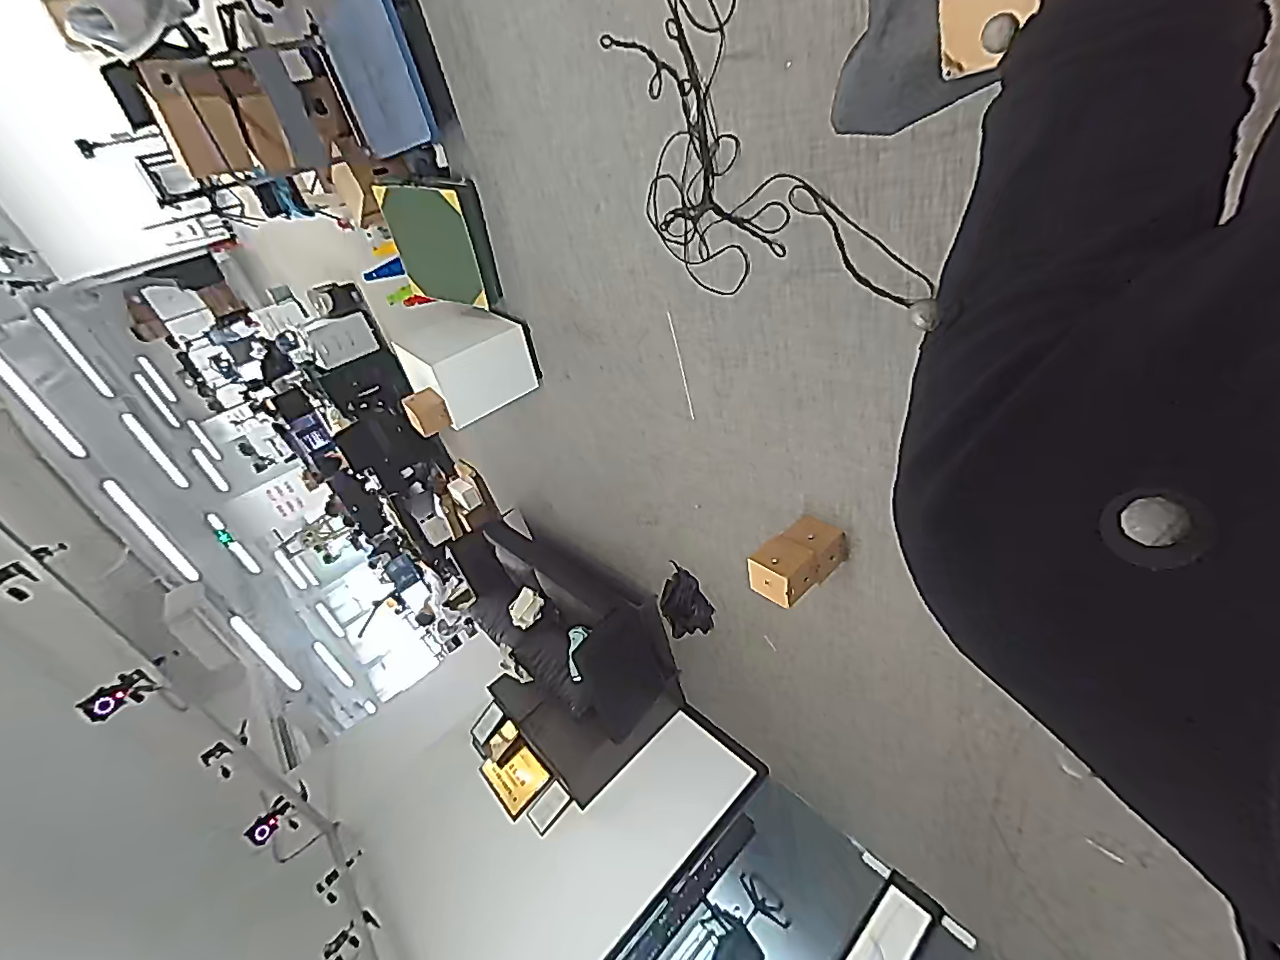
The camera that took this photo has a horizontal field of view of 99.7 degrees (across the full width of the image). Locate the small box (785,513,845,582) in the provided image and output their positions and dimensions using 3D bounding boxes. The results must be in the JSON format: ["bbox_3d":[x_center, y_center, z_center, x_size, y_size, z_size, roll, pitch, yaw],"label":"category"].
[{"bbox_3d":[0.667,0.250,2.072,0.179,0.176,0.168,25,141,43],"label":"small box"}]

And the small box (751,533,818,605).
[{"bbox_3d":[0.536,0.320,2.000,0.179,0.176,0.168,26,141,43],"label":"small box"}]
